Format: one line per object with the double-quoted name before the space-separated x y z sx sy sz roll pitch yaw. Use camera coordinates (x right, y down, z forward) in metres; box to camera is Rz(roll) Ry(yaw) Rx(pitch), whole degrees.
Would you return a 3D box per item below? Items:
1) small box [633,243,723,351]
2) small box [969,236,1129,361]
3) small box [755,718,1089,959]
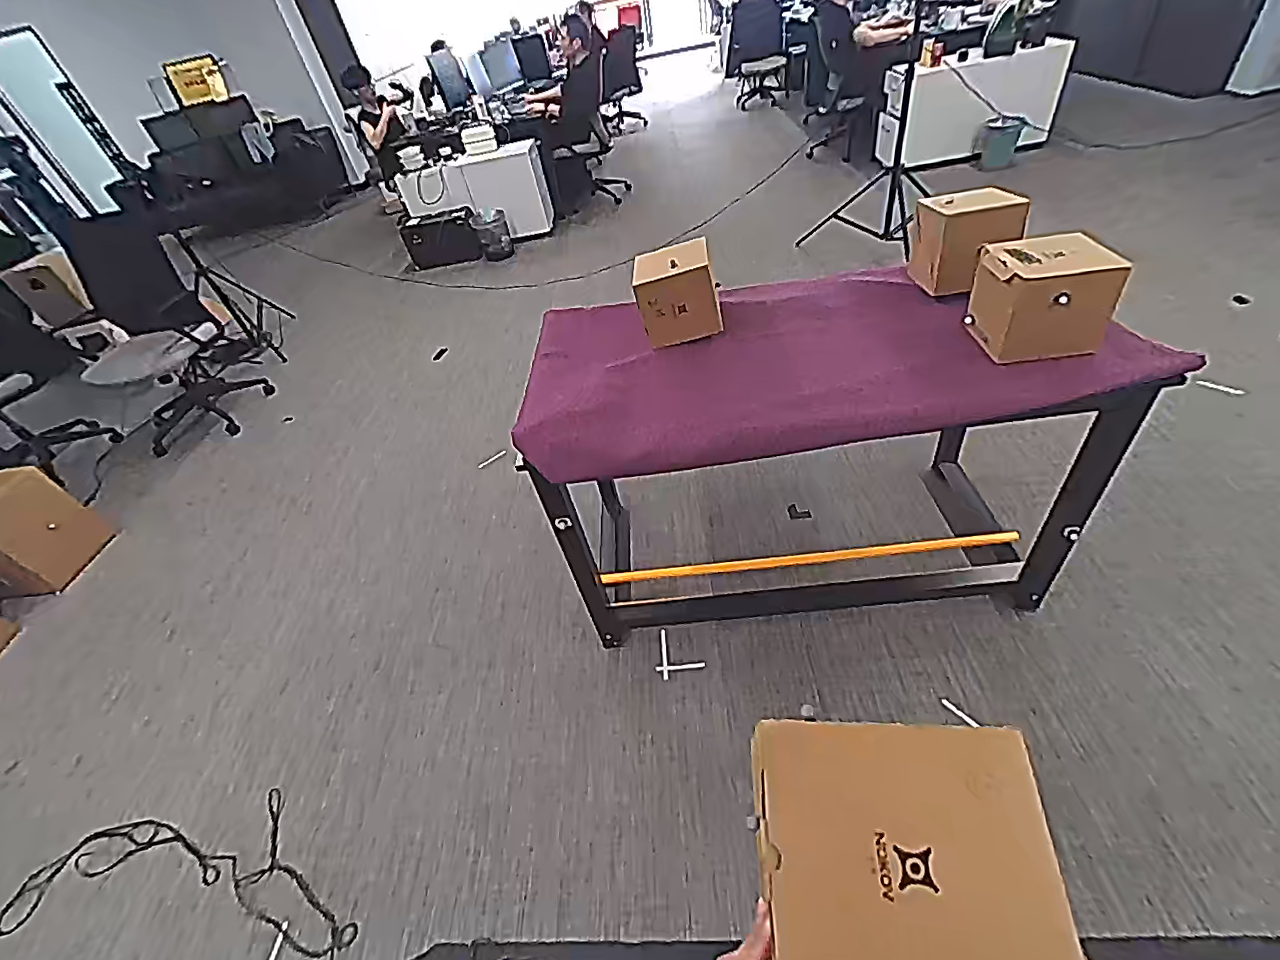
"small box" 0.090 -0.437 1.283 0.179 0.168 0.176 -11 41 13
"small box" 0.755 -0.341 1.028 0.179 0.176 0.168 -5 42 8
"small box" 0.181 0.277 0.403 0.179 0.176 0.168 -3 60 10
